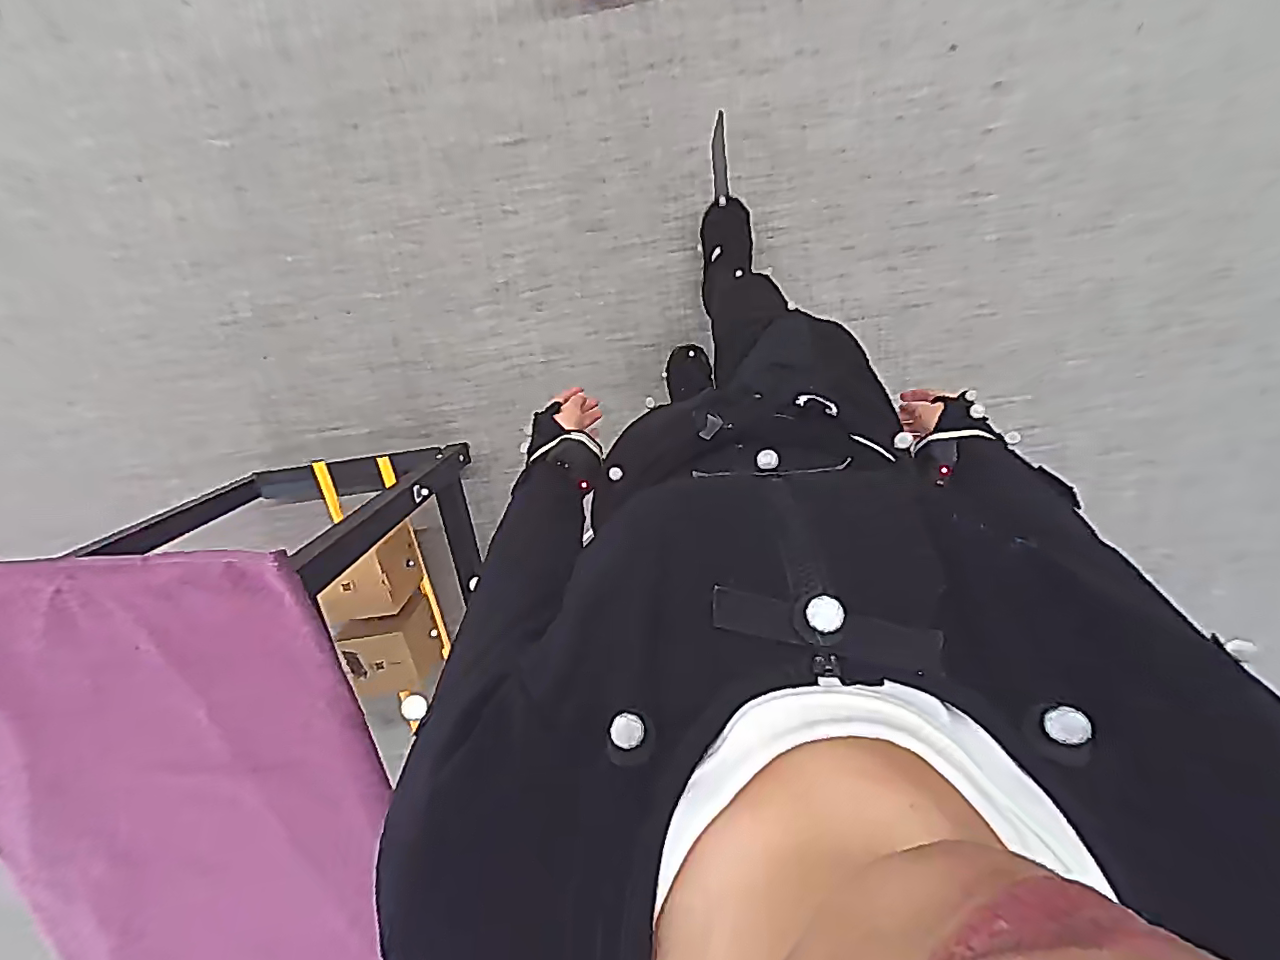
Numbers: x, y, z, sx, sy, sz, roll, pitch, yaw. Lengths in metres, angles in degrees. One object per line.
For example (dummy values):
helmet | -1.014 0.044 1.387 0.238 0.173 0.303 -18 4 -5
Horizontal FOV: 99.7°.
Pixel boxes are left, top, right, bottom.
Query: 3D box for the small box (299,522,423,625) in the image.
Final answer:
small box | -0.638 0.212 1.258 0.179 0.176 0.168 -9 109 2

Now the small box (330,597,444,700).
small box | -0.609 0.406 1.324 0.179 0.176 0.168 -9 109 1
